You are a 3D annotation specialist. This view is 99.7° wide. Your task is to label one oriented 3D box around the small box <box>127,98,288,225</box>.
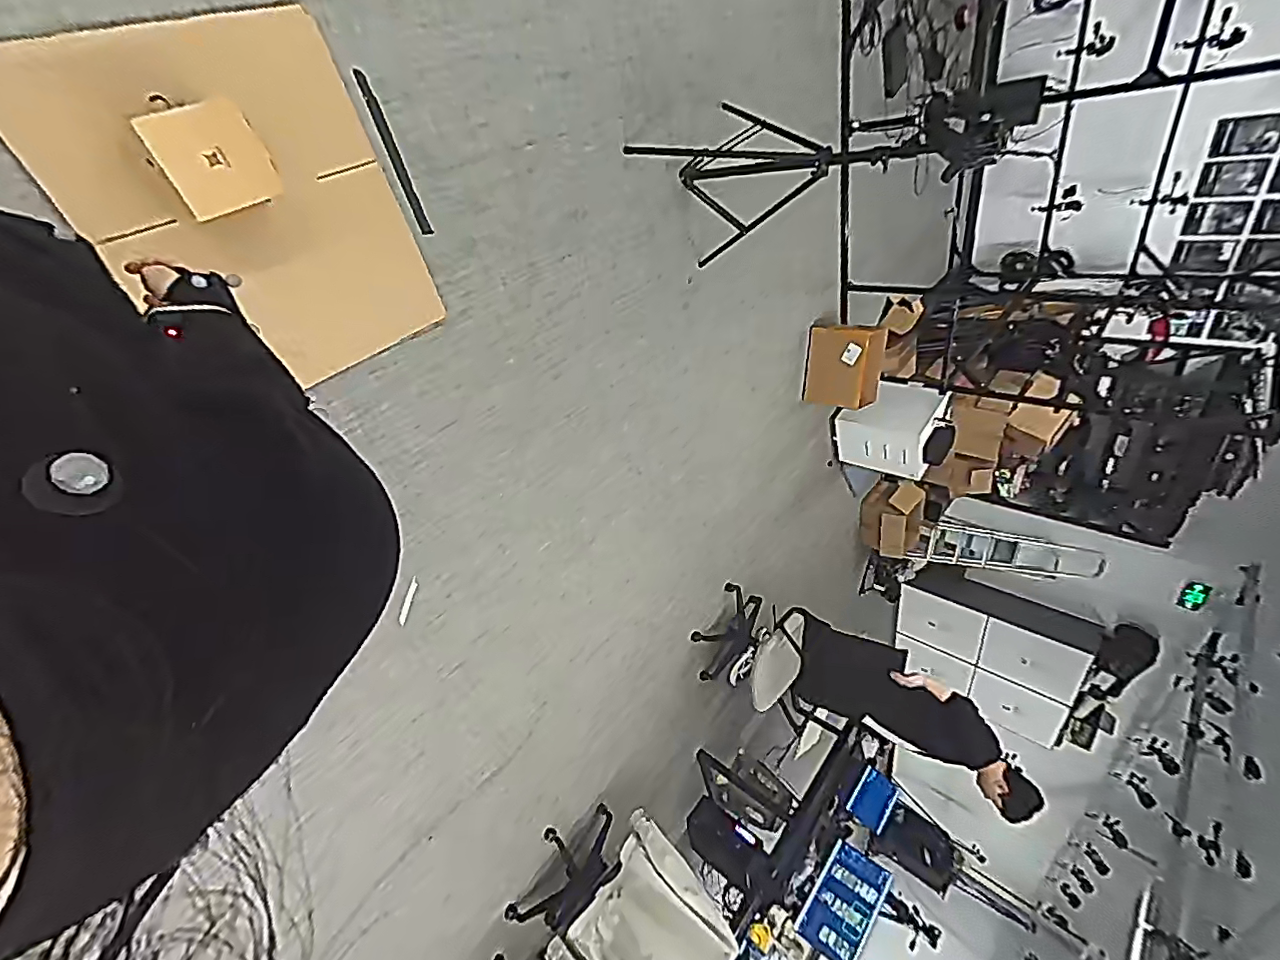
[{"bbox_3d":[-0.833,-0.604,1.040,0.179,0.176,0.168,-43,134,-29],"label":"small box"}]
